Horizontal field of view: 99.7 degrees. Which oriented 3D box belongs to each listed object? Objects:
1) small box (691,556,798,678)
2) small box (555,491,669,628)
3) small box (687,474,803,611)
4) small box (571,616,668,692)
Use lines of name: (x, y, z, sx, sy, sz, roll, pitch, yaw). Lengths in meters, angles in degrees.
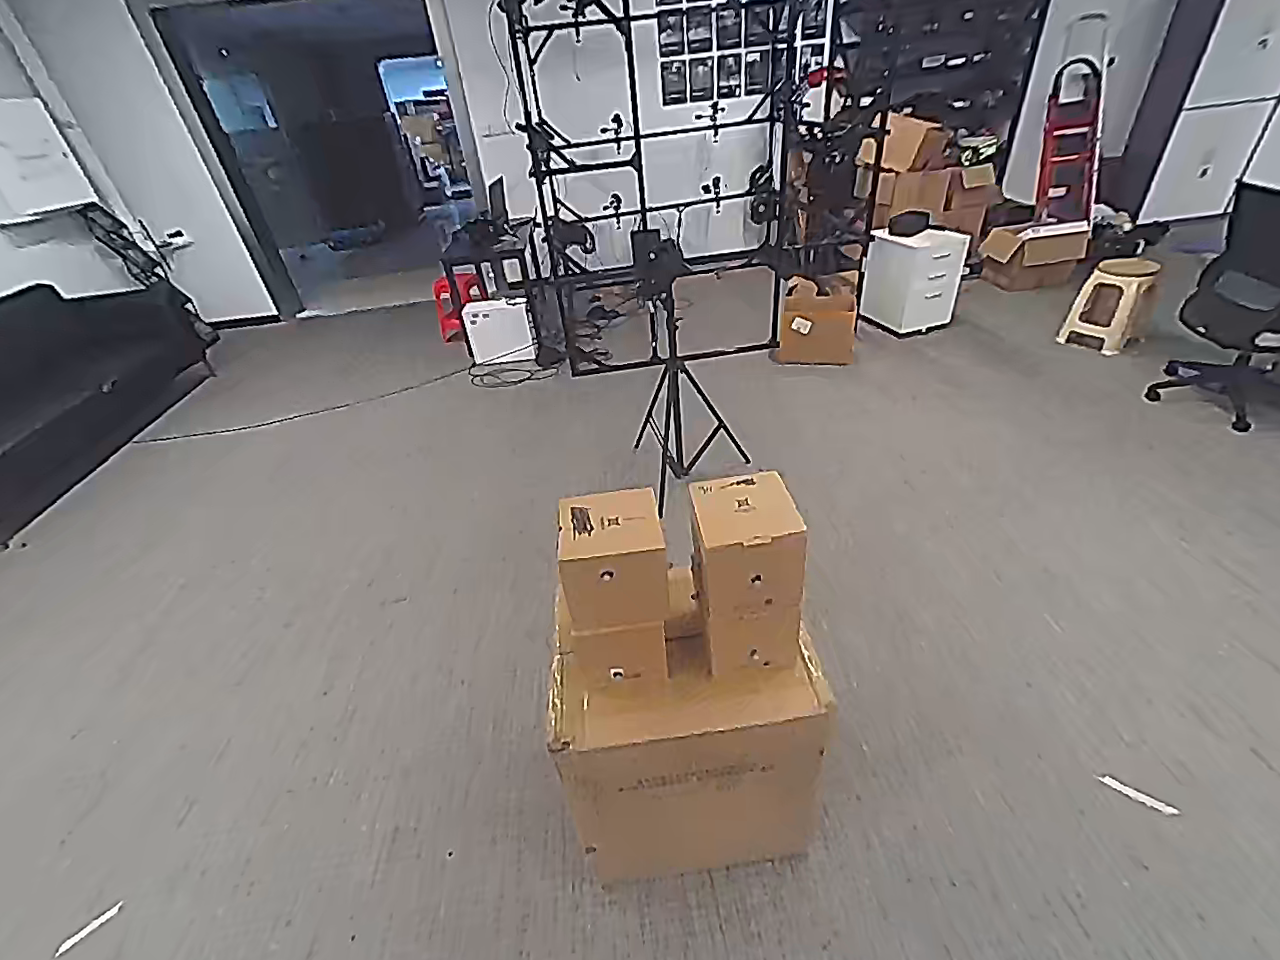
small box: (0.196, 0.253, 1.051, 0.168, 0.176, 0.179, -10, 36, -1)
small box: (-0.048, 0.144, 0.966, 0.179, 0.176, 0.168, -7, 35, -2)
small box: (0.180, 0.115, 0.959, 0.168, 0.176, 0.179, -7, 36, -1)
small box: (-0.041, 0.281, 1.055, 0.168, 0.176, 0.179, -9, 36, -2)
